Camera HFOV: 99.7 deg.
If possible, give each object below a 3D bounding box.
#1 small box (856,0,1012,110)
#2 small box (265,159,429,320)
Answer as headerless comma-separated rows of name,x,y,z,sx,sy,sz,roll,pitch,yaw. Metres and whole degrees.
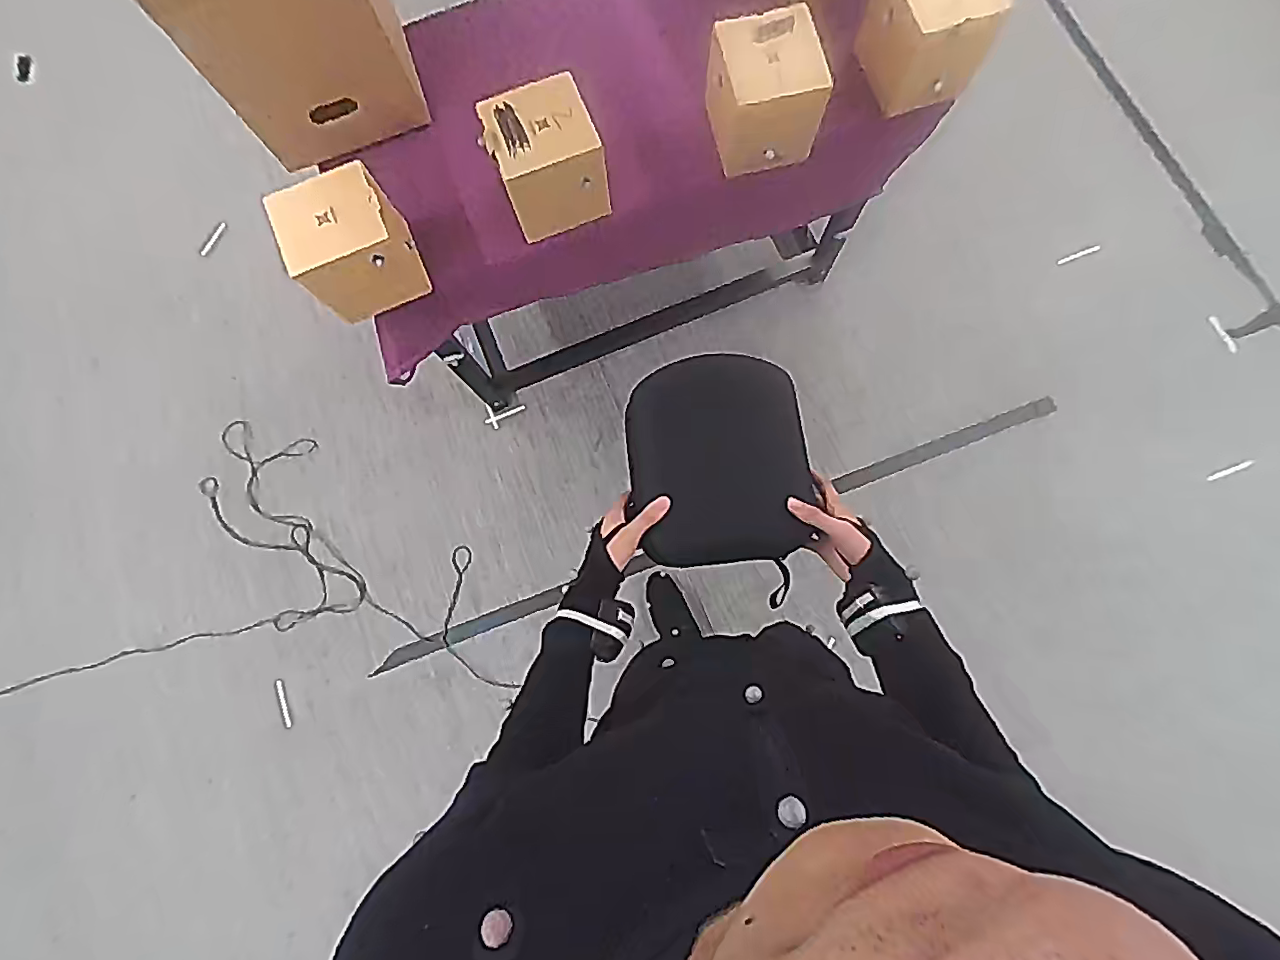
small box,0.525,-0.836,0.996,0.168,0.176,0.179,-17,79,0
small box,-0.512,-0.416,0.965,0.179,0.176,0.168,-24,79,-3
